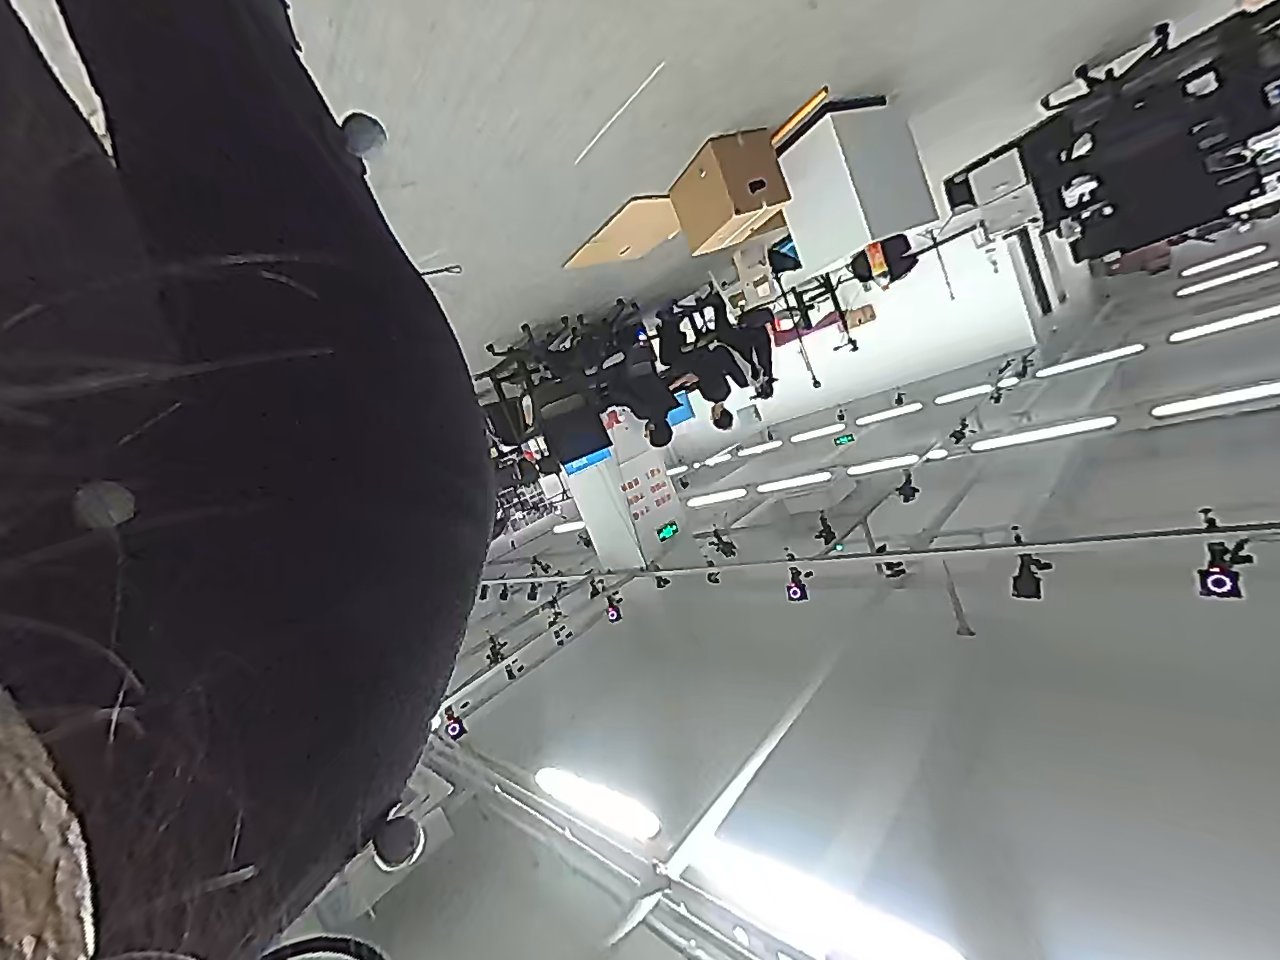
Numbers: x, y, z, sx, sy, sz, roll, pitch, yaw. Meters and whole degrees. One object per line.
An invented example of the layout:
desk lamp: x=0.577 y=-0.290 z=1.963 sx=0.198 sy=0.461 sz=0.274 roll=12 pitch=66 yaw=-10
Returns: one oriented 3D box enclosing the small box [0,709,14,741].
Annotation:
small box: x=-1.727 y=0.614 z=1.344 sx=0.168 sy=0.176 sz=0.179 roll=-18 pitch=-173 yaw=39
